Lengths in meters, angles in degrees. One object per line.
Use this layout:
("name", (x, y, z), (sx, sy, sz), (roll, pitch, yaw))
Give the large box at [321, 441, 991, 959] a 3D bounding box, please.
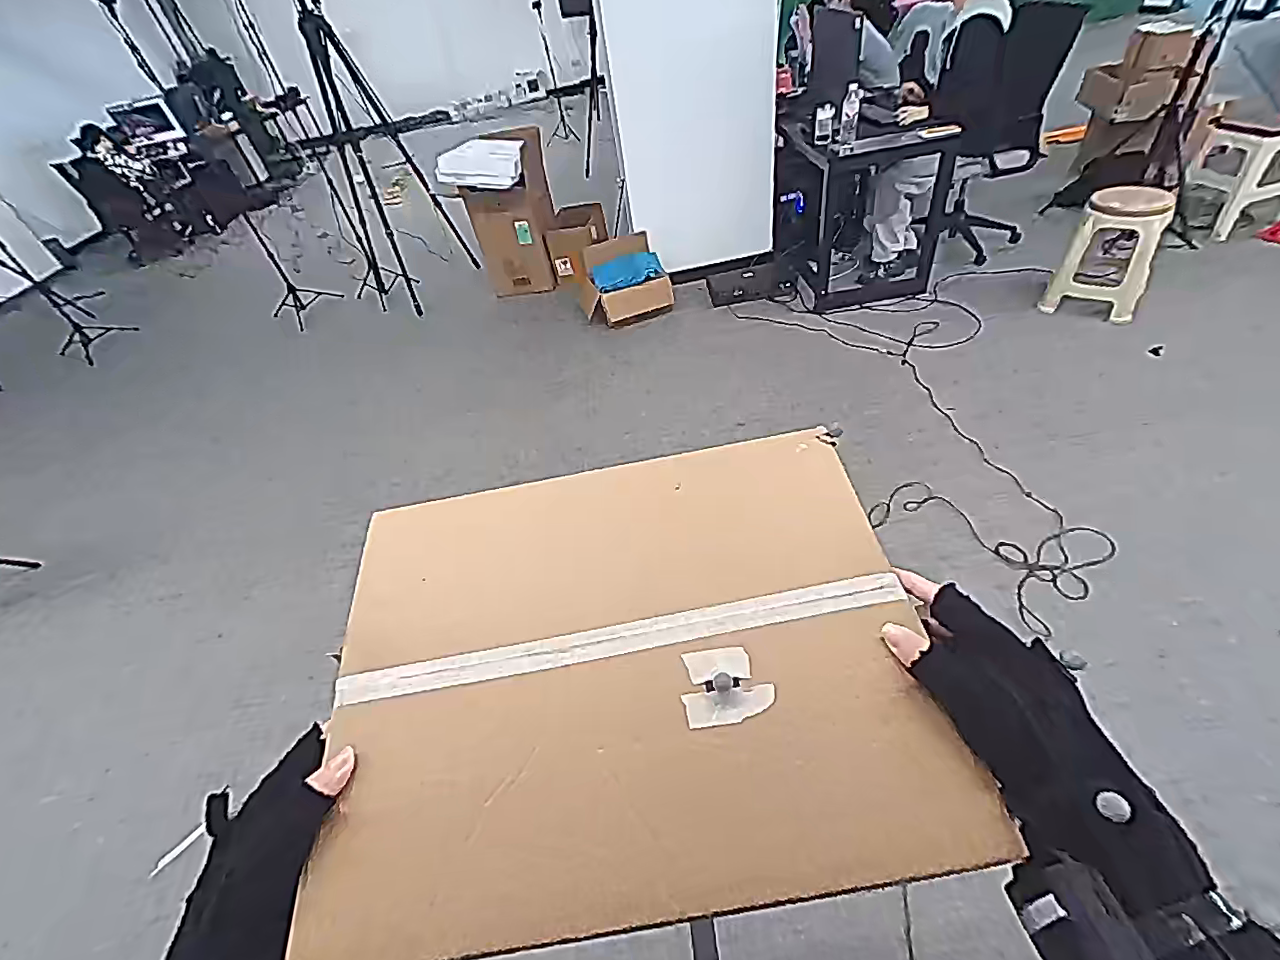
("large box", (0.004, 0.209, 0.517), (0.408, 0.320, 0.320), (-11, 53, 1))
